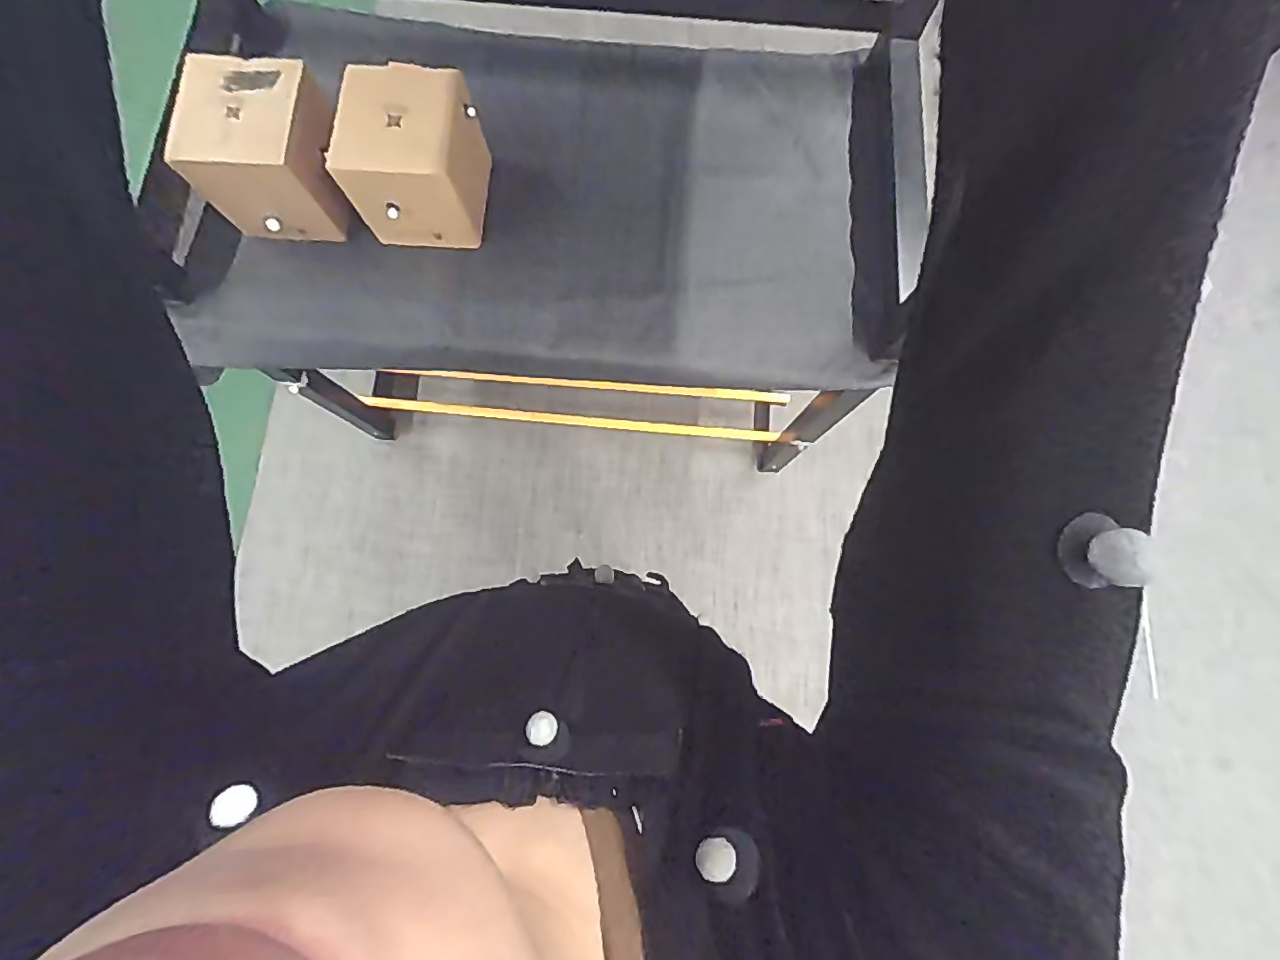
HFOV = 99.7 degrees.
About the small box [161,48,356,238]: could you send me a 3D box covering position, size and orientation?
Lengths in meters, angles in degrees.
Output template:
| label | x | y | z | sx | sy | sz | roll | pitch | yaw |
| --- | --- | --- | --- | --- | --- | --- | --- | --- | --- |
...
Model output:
| label | x | y | z | sx | sy | sz | roll | pitch | yaw |
| --- | --- | --- | --- | --- | --- | --- | --- | --- | --- |
| small box | -0.556 | -0.499 | 0.817 | 0.168 | 0.176 | 0.179 | 2 | 79 | 0 |
